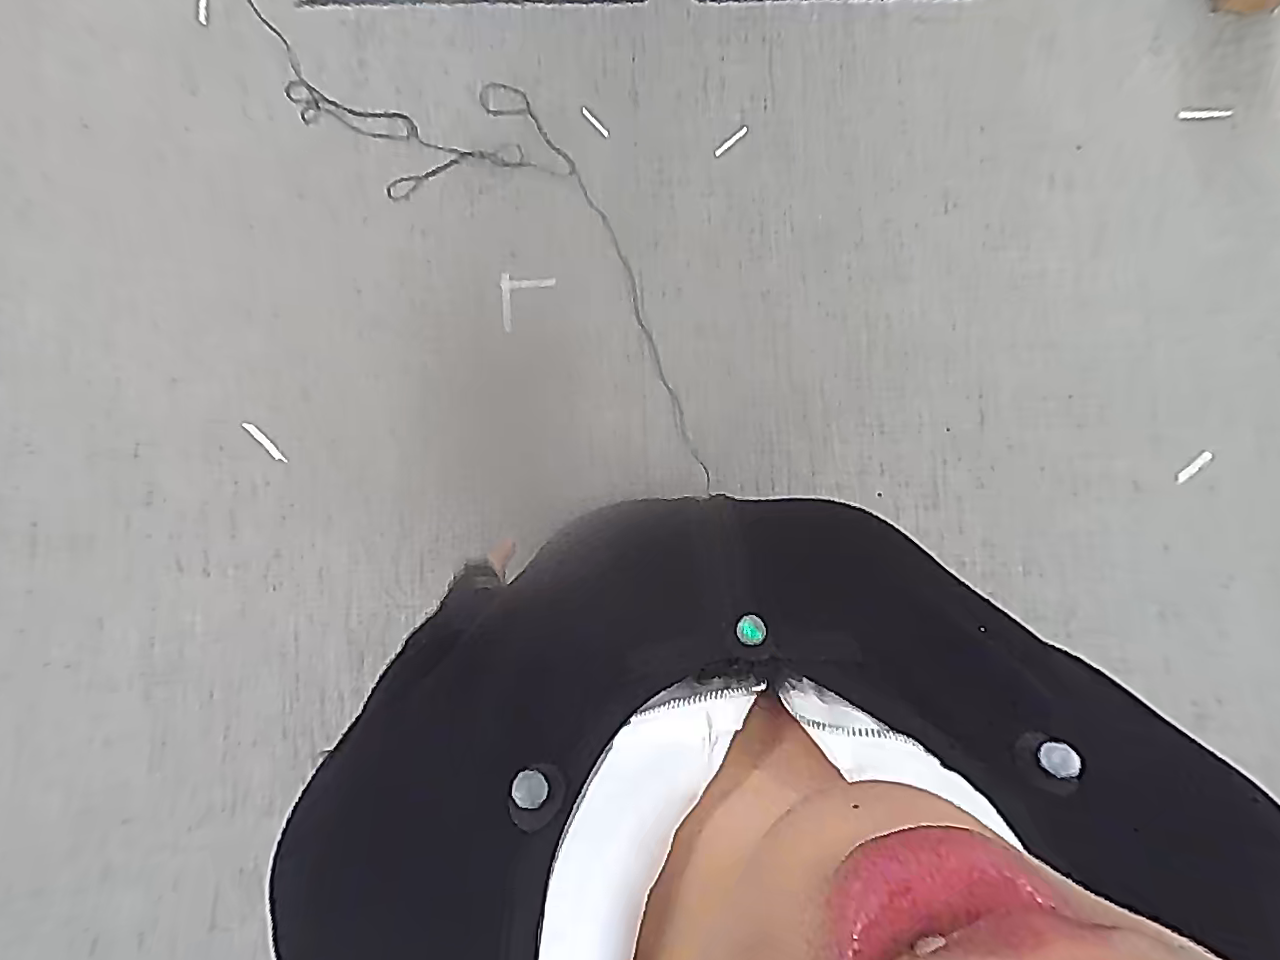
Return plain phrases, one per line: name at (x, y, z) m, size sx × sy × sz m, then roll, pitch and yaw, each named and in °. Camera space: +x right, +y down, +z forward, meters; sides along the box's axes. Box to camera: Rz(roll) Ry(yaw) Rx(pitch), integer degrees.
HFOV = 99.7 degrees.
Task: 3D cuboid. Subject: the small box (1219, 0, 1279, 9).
small box at (1.739, -1.436, 1.475) m, size 0.168 × 0.176 × 0.179 m, roll -2°, pitch 86°, yaw 1°
